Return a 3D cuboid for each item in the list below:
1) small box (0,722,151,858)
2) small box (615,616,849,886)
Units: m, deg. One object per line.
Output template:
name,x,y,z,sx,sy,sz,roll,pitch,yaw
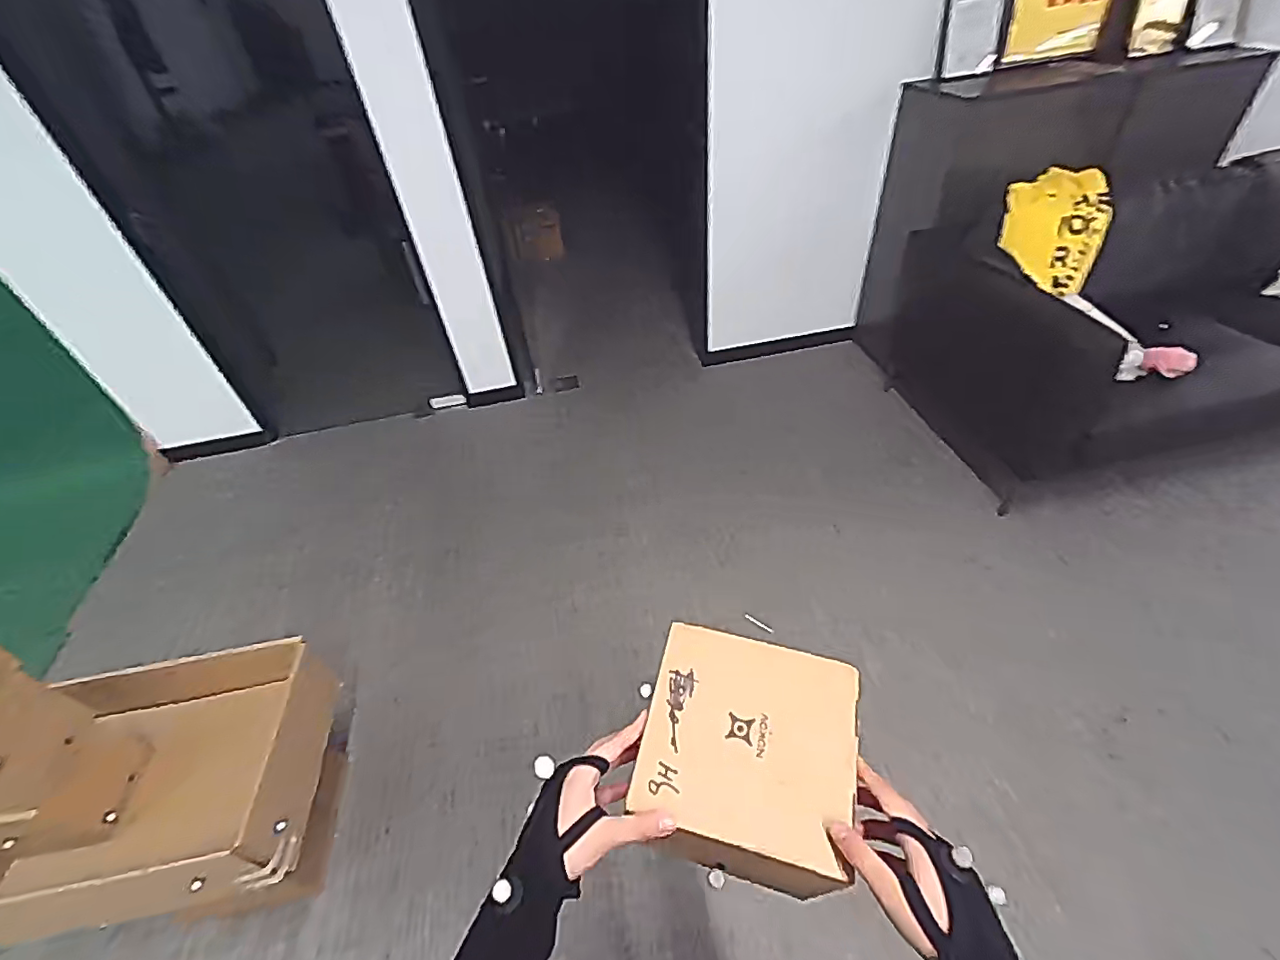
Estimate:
small box,-1.086,0.578,1.008,0.179,0.176,0.168,-9,43,-3
small box,0.084,0.259,0.513,0.179,0.176,0.168,11,48,10
